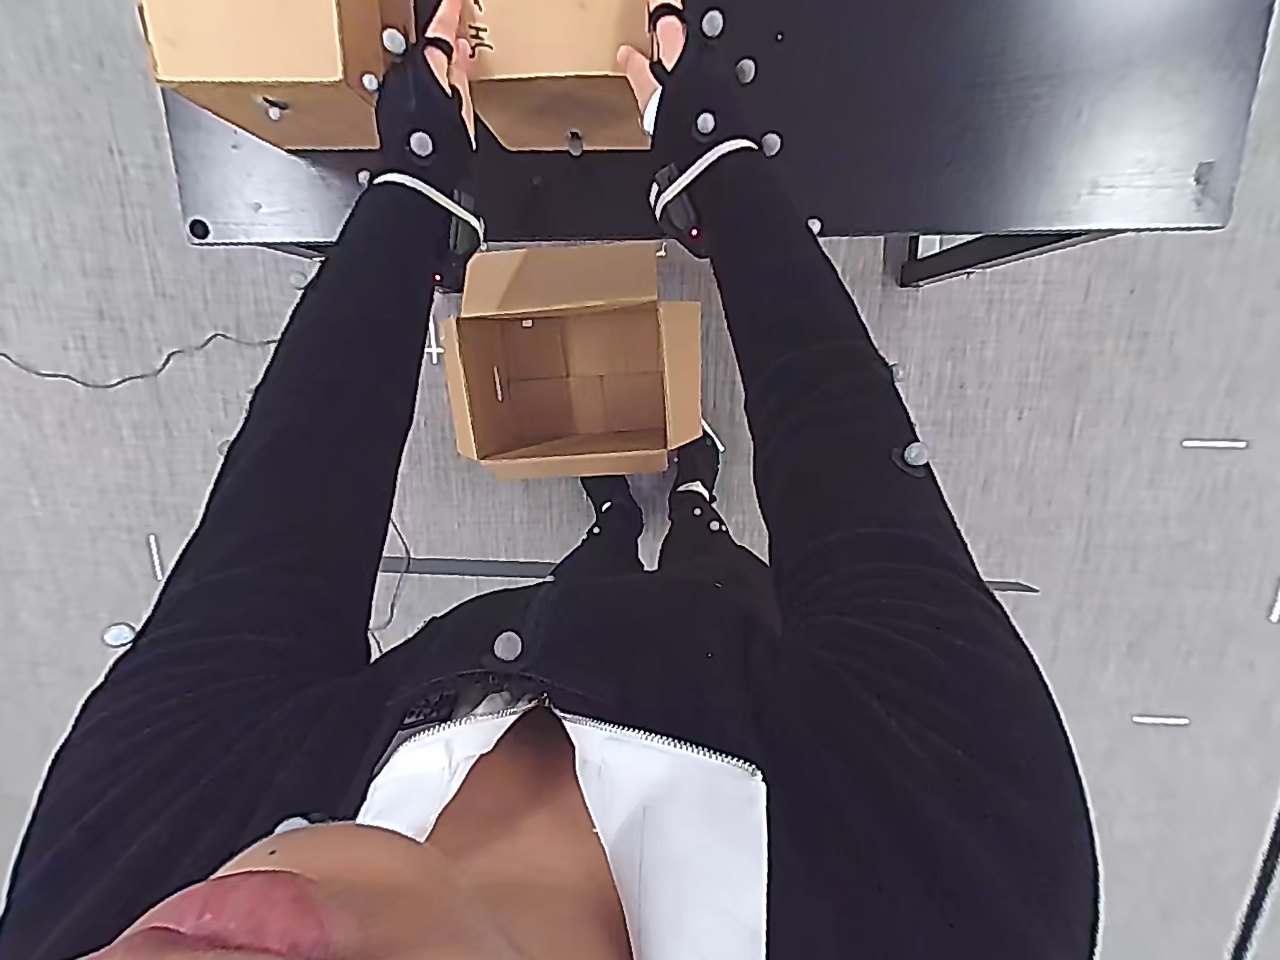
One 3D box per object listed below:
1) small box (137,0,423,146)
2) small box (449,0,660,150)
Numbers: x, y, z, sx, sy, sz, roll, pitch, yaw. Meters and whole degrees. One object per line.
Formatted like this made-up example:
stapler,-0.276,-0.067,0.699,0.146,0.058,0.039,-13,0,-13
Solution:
small box,-0.335,-0.443,0.525,0.179,0.176,0.168,1,104,1
small box,-0.070,-0.436,0.516,0.179,0.176,0.168,1,103,2
